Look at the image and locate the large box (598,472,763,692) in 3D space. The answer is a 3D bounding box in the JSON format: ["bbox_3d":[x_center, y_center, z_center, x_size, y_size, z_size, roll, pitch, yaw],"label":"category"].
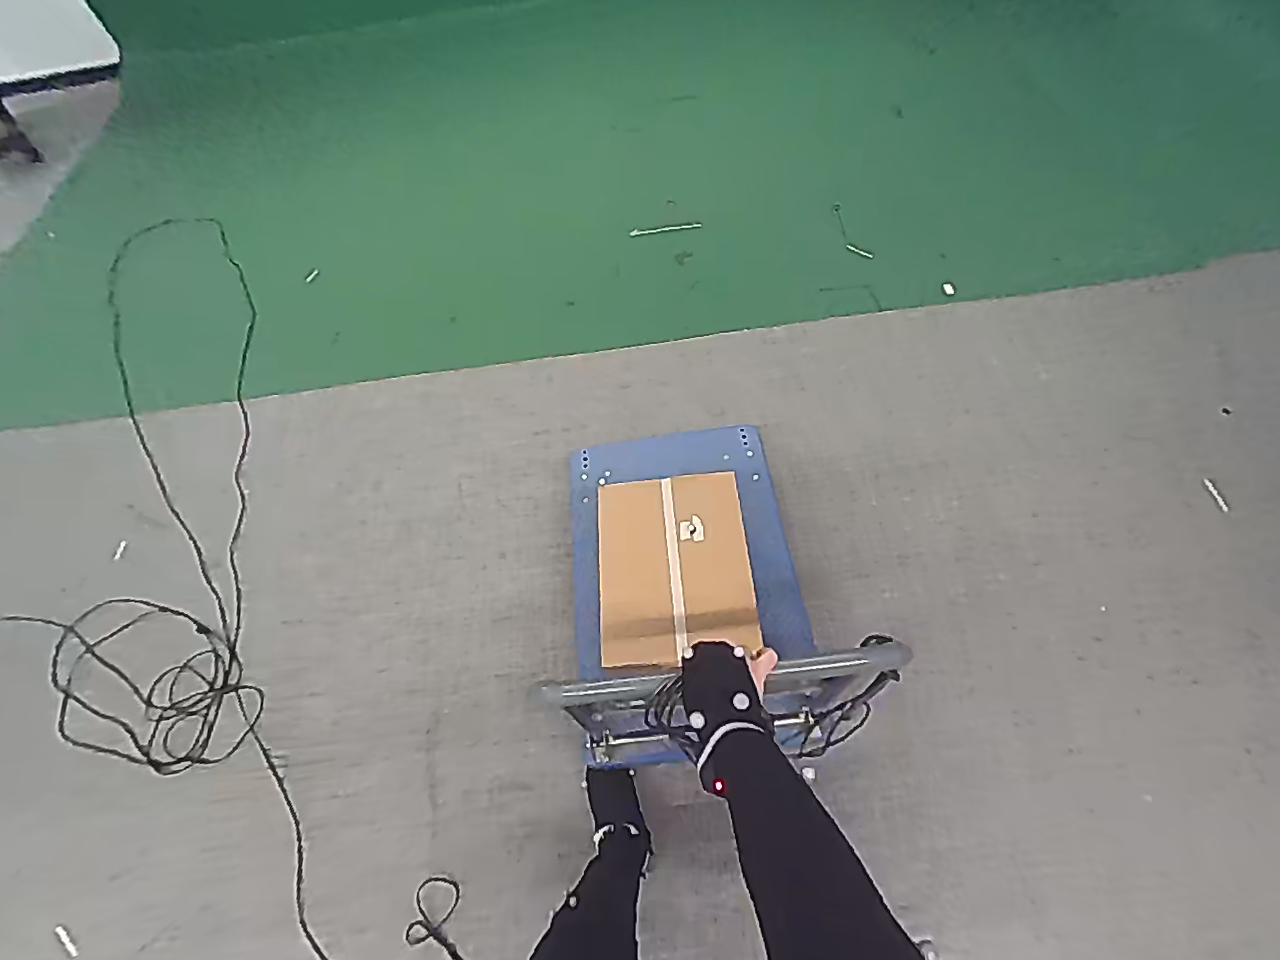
[{"bbox_3d":[0.083,0.242,1.243,0.320,0.320,0.408,-5,59,3],"label":"large box"}]
